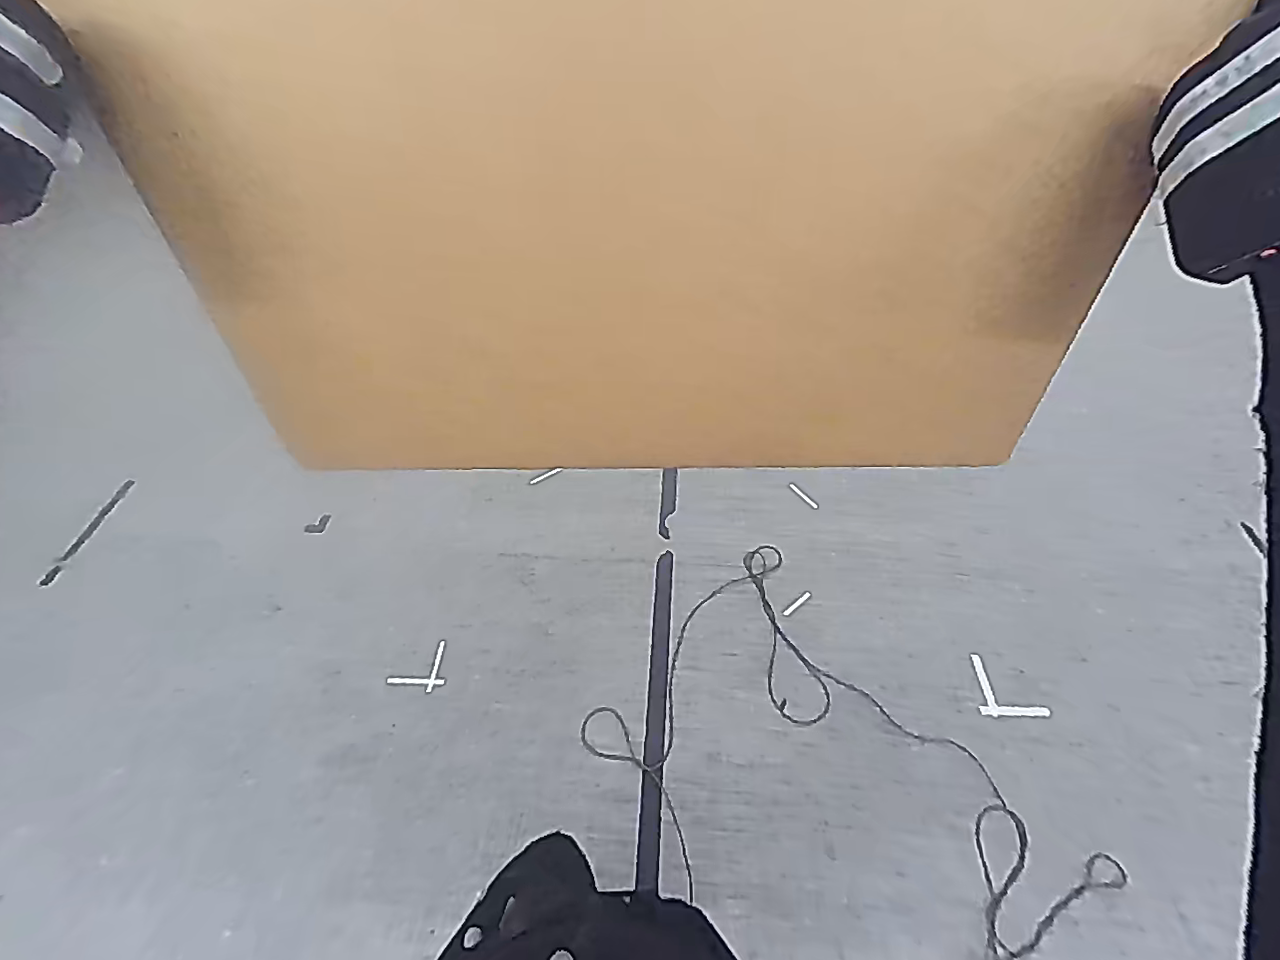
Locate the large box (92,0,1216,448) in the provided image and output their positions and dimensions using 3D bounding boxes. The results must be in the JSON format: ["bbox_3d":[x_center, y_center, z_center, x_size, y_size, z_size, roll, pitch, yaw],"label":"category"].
[{"bbox_3d":[0.004,-0.228,0.329,0.408,0.320,0.320,1,41,1],"label":"large box"}]
